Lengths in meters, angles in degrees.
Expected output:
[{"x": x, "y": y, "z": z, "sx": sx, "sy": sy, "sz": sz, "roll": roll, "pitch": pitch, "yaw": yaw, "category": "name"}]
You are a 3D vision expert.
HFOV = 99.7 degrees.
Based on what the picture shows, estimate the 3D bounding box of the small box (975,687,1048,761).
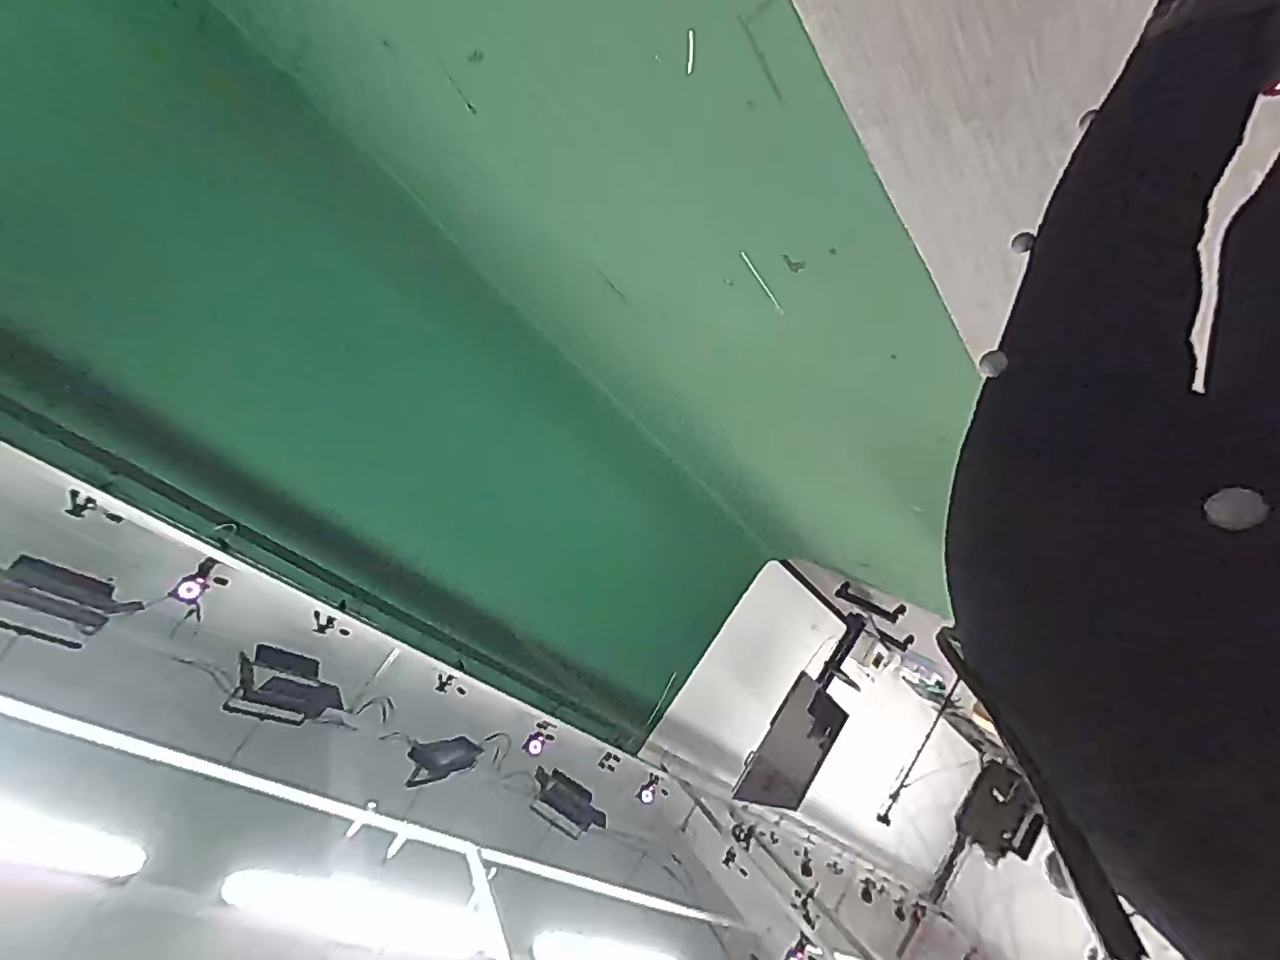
[{"x": 1.346, "y": 0.877, "z": 1.955, "sx": 0.168, "sy": 0.176, "sz": 0.179, "roll": 27, "pitch": 168, "yaw": 47, "category": "small box"}]
